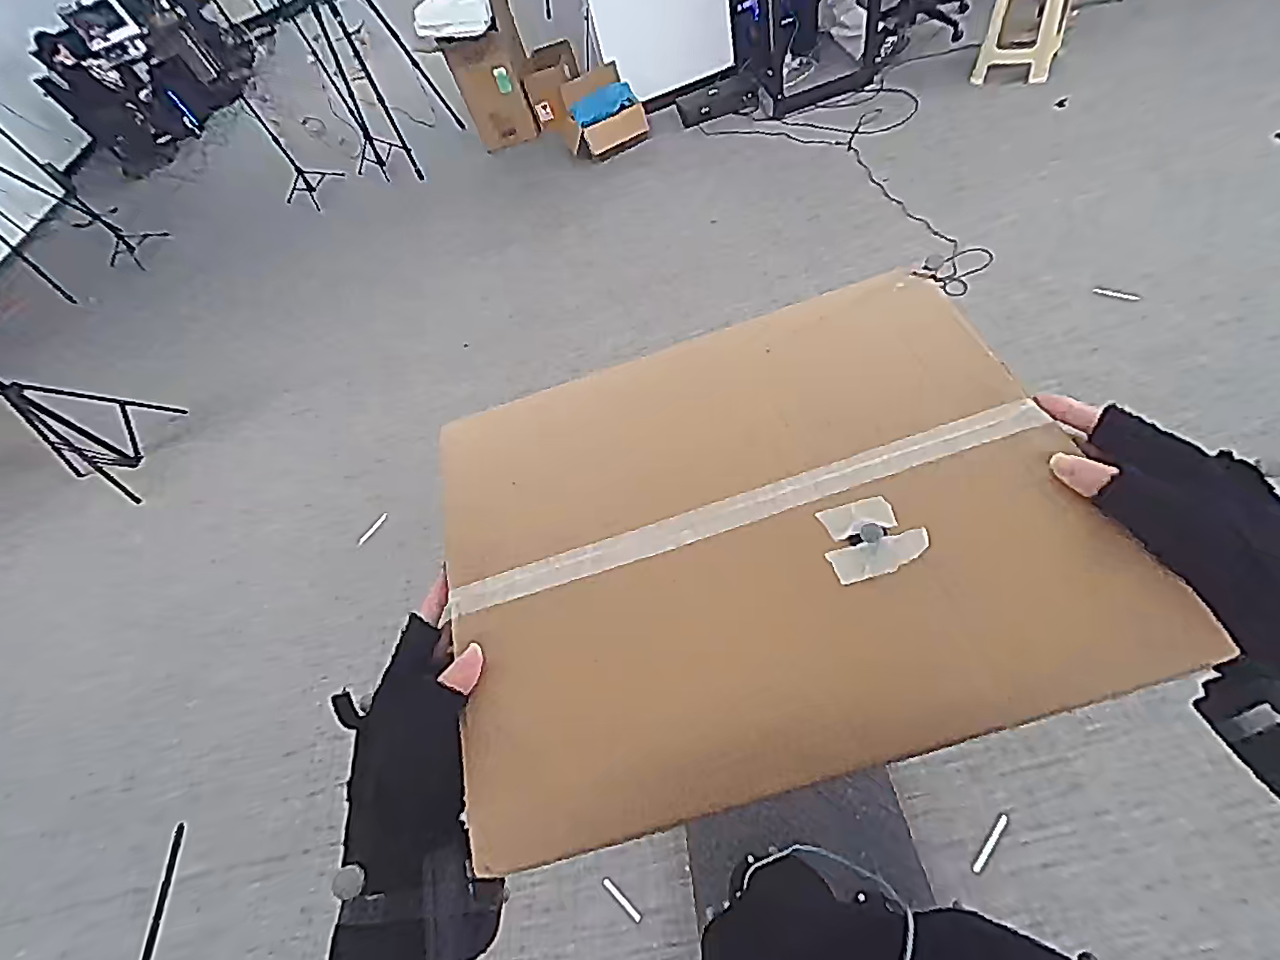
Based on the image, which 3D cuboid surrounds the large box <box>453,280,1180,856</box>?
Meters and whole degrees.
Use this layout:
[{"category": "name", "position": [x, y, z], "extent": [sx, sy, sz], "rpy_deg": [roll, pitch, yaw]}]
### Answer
[{"category": "large box", "position": [0.095, 0.094, 0.499], "extent": [0.408, 0.320, 0.320], "rpy_deg": [-18, 60, 2]}]
